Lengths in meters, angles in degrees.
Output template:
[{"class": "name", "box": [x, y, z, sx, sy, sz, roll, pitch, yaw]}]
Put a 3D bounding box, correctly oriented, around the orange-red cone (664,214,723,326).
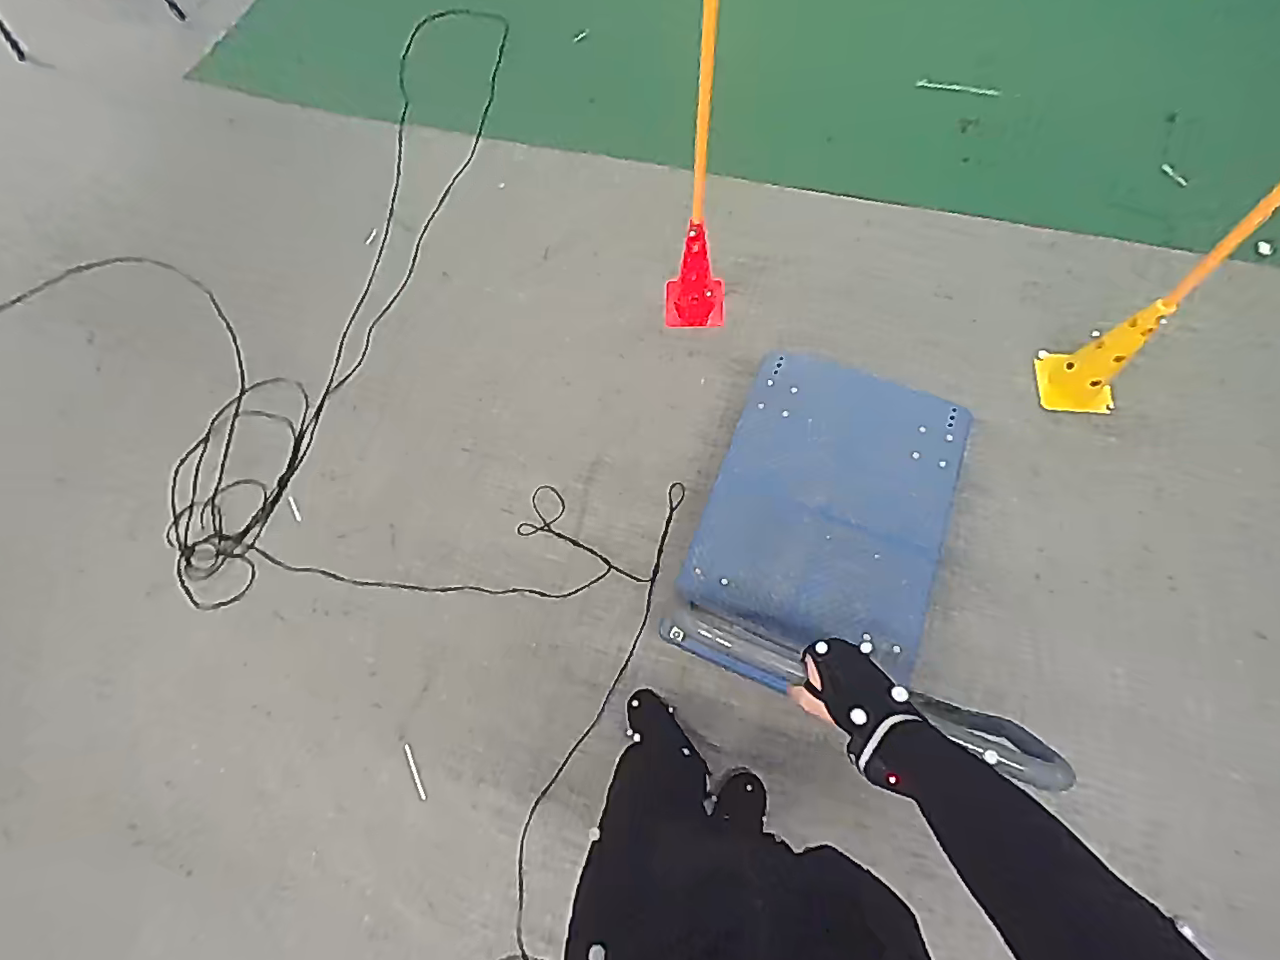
[{"class": "orange-red cone", "box": [0.165, -0.672, 1.688, 0.199, 0.360, 0.198, 1, 68, 7]}]
